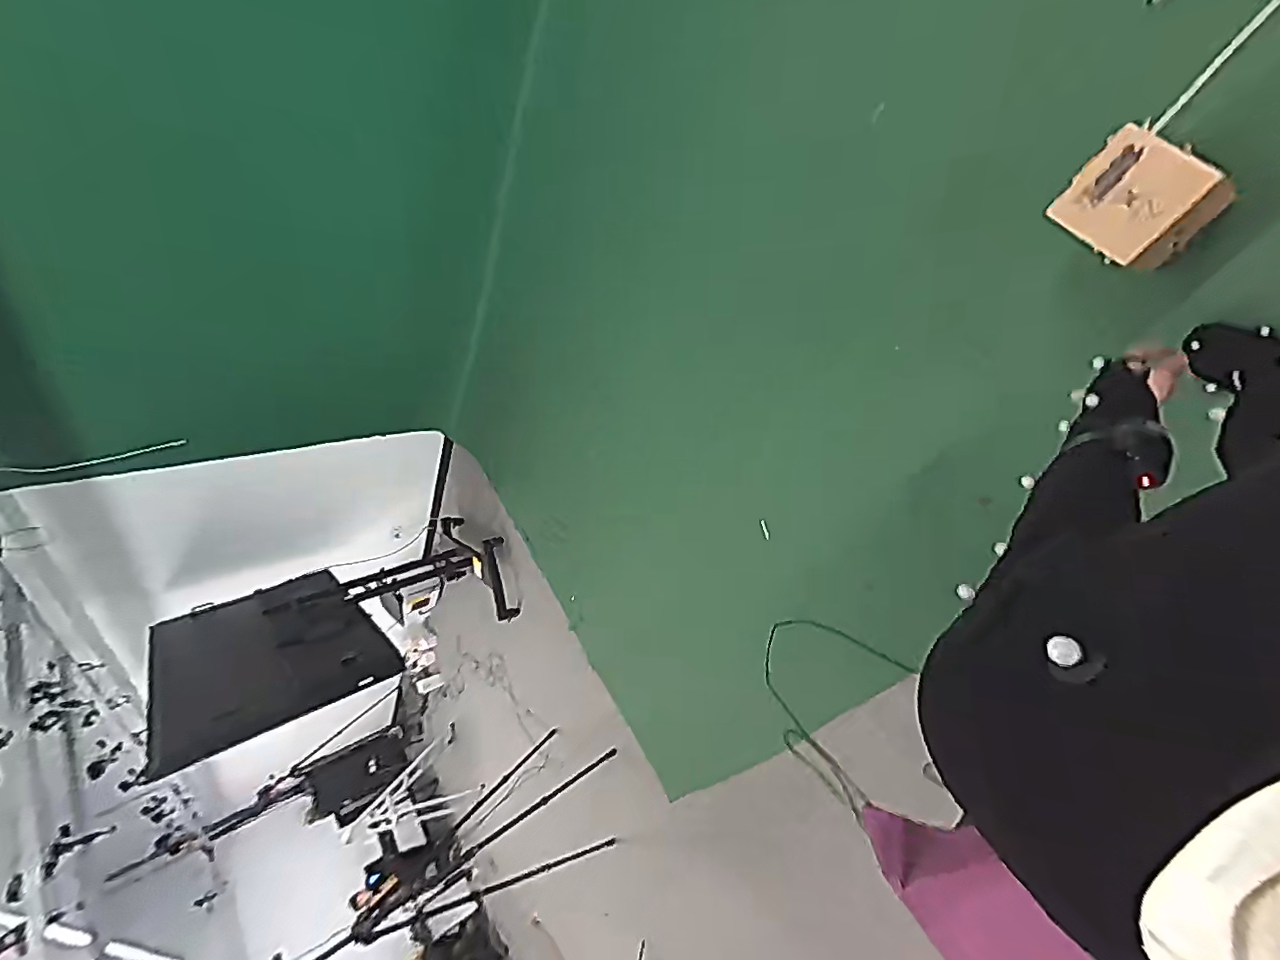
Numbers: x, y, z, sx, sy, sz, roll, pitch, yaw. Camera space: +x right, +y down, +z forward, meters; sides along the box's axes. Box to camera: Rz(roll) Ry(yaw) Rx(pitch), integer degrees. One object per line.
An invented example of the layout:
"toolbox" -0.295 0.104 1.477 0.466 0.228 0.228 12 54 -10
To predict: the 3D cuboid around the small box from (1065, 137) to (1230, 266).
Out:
"small box" 1.027 -0.555 1.093 0.179 0.176 0.168 54 137 24
